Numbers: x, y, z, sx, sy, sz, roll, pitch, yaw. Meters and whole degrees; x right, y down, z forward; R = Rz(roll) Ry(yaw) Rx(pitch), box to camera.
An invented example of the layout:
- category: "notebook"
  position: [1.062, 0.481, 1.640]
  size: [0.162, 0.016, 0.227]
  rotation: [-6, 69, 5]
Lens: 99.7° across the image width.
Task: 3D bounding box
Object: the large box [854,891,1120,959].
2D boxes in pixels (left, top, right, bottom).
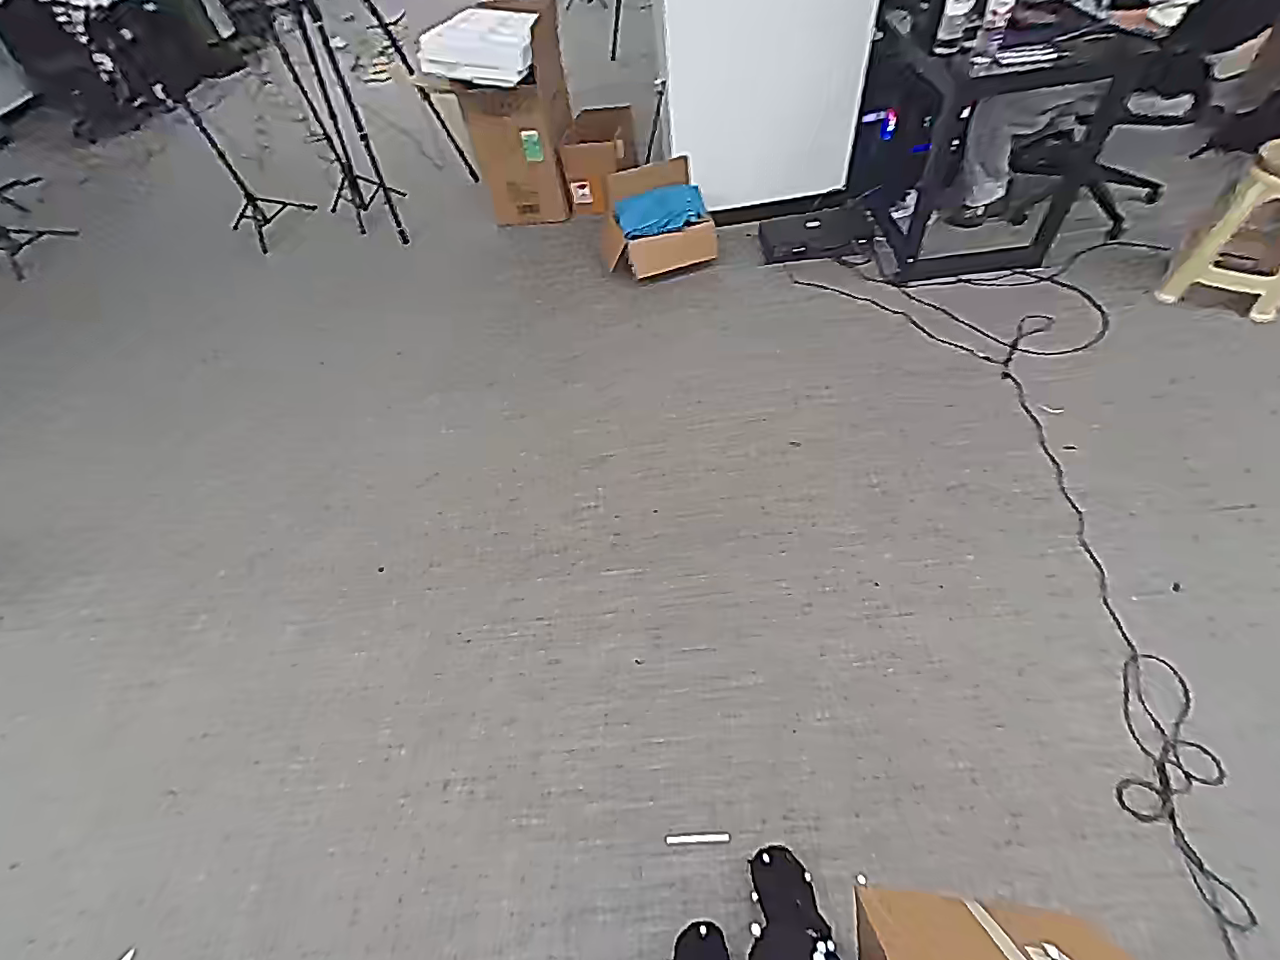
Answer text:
- category: "large box"
  position: [0.440, 0.726, 0.573]
  size: [0.320, 0.408, 0.320]
  rotation: [3, 76, 9]
